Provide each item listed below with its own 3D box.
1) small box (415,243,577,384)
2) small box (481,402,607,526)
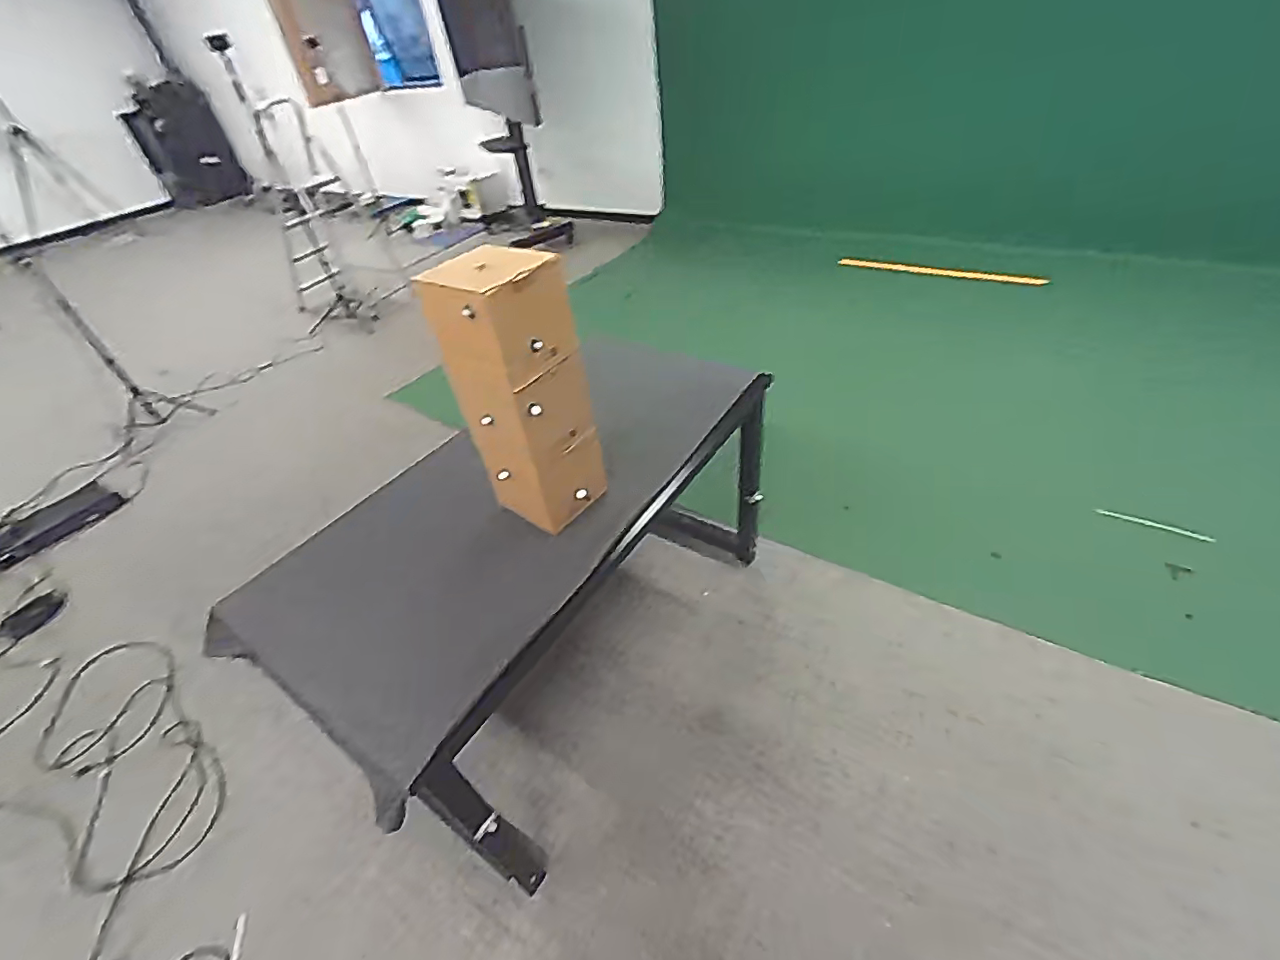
[{"bbox_3d":[-0.231,-0.279,0.899,0.179,0.176,0.168,20,47,30],"label":"small box"},{"bbox_3d":[-0.191,-0.032,1.110,0.179,0.176,0.168,24,50,32],"label":"small box"}]
